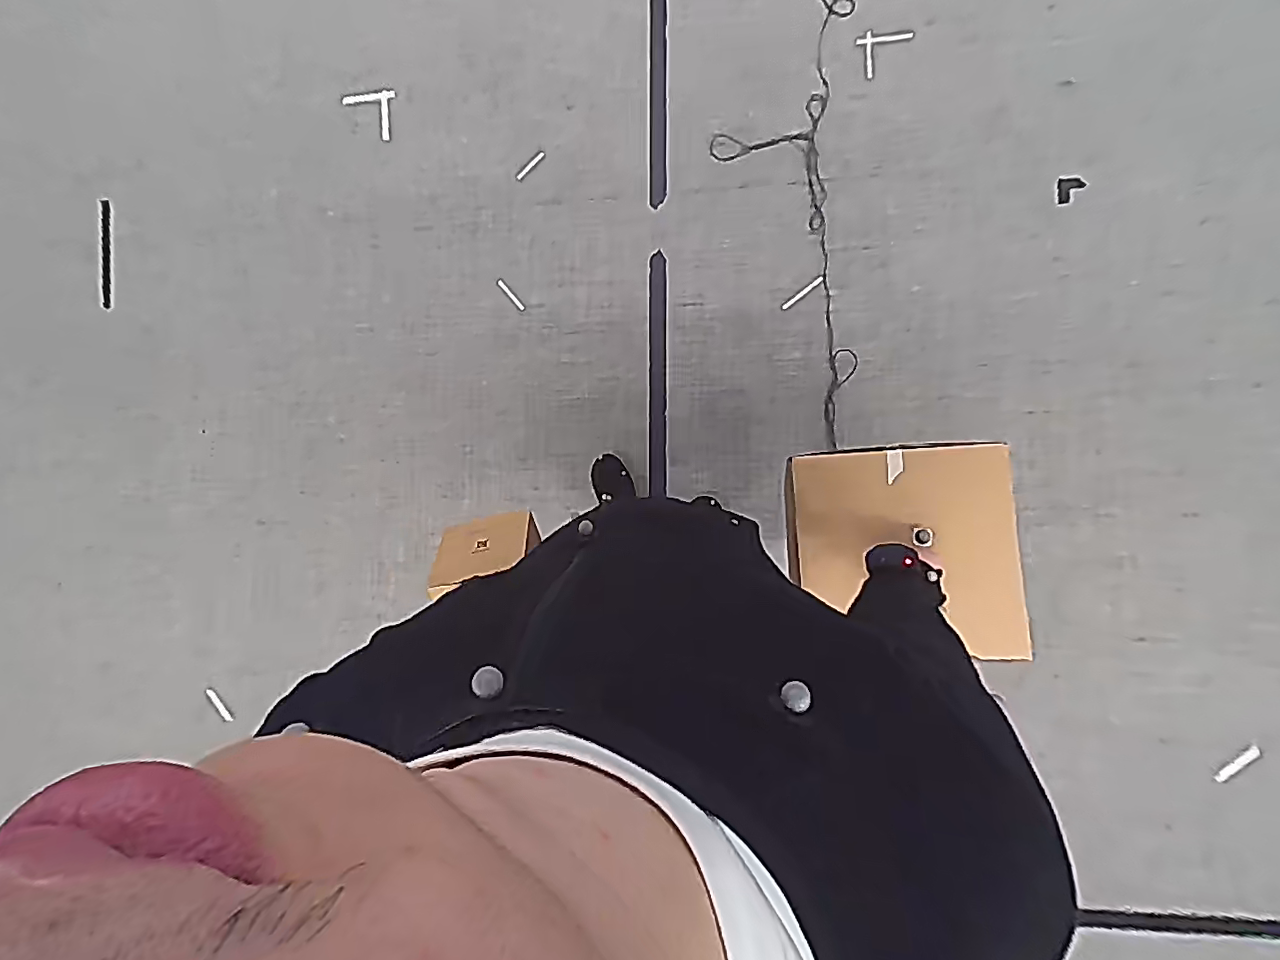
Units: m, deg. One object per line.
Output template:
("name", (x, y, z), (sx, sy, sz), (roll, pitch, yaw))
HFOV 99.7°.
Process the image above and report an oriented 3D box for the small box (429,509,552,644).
("small box", (-0.266, 0.185, 1.010), (0.168, 0.179, 0.176), (-12, 121, 0))
